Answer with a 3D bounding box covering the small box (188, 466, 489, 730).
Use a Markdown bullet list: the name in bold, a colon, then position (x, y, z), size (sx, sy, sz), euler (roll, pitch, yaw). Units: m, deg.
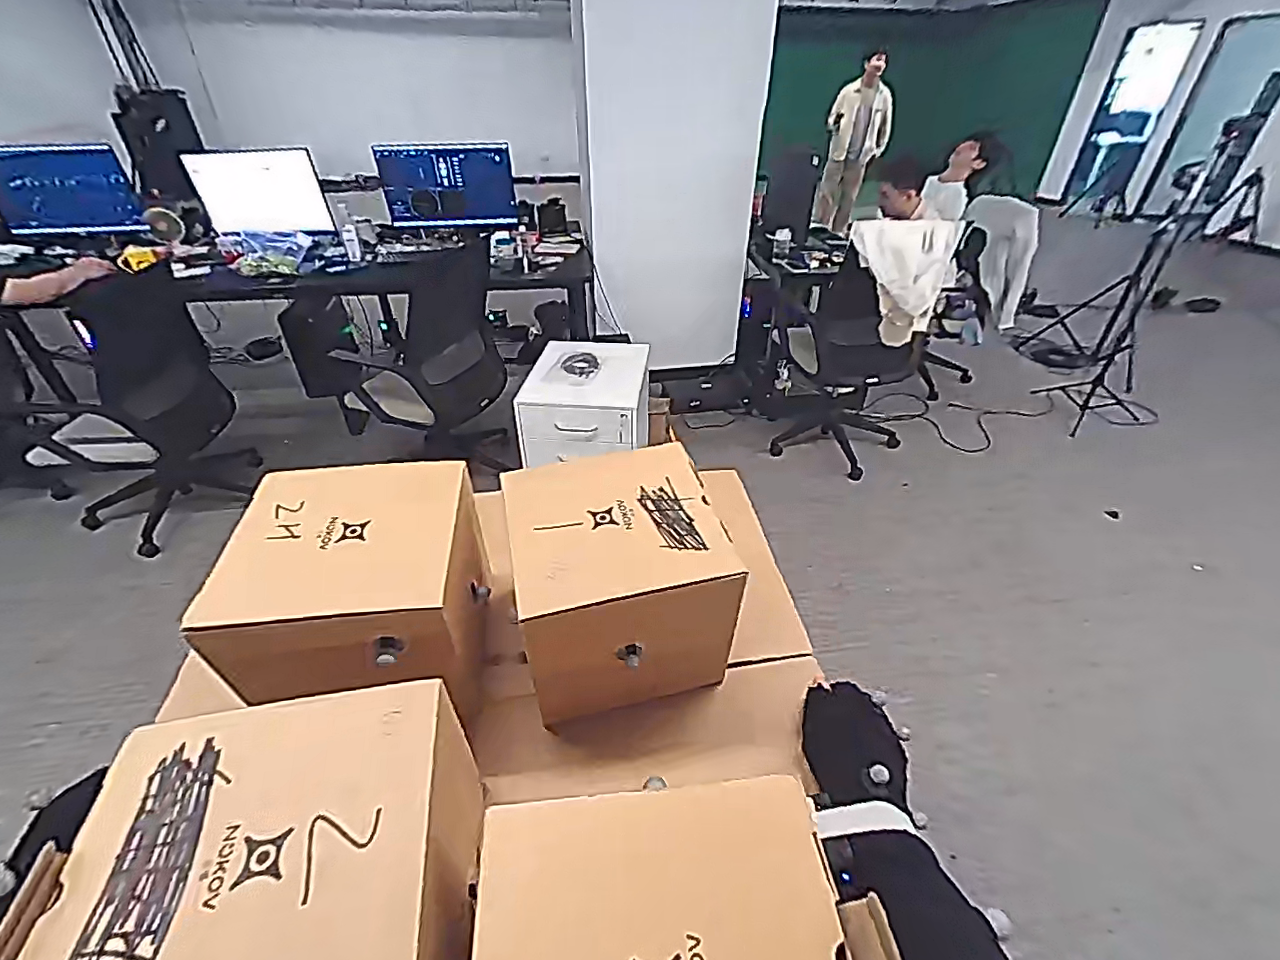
- **small box**: position (-0.242, 0.106, 0.497), size (0.179, 0.176, 0.168), euler (-5, 41, -6)
